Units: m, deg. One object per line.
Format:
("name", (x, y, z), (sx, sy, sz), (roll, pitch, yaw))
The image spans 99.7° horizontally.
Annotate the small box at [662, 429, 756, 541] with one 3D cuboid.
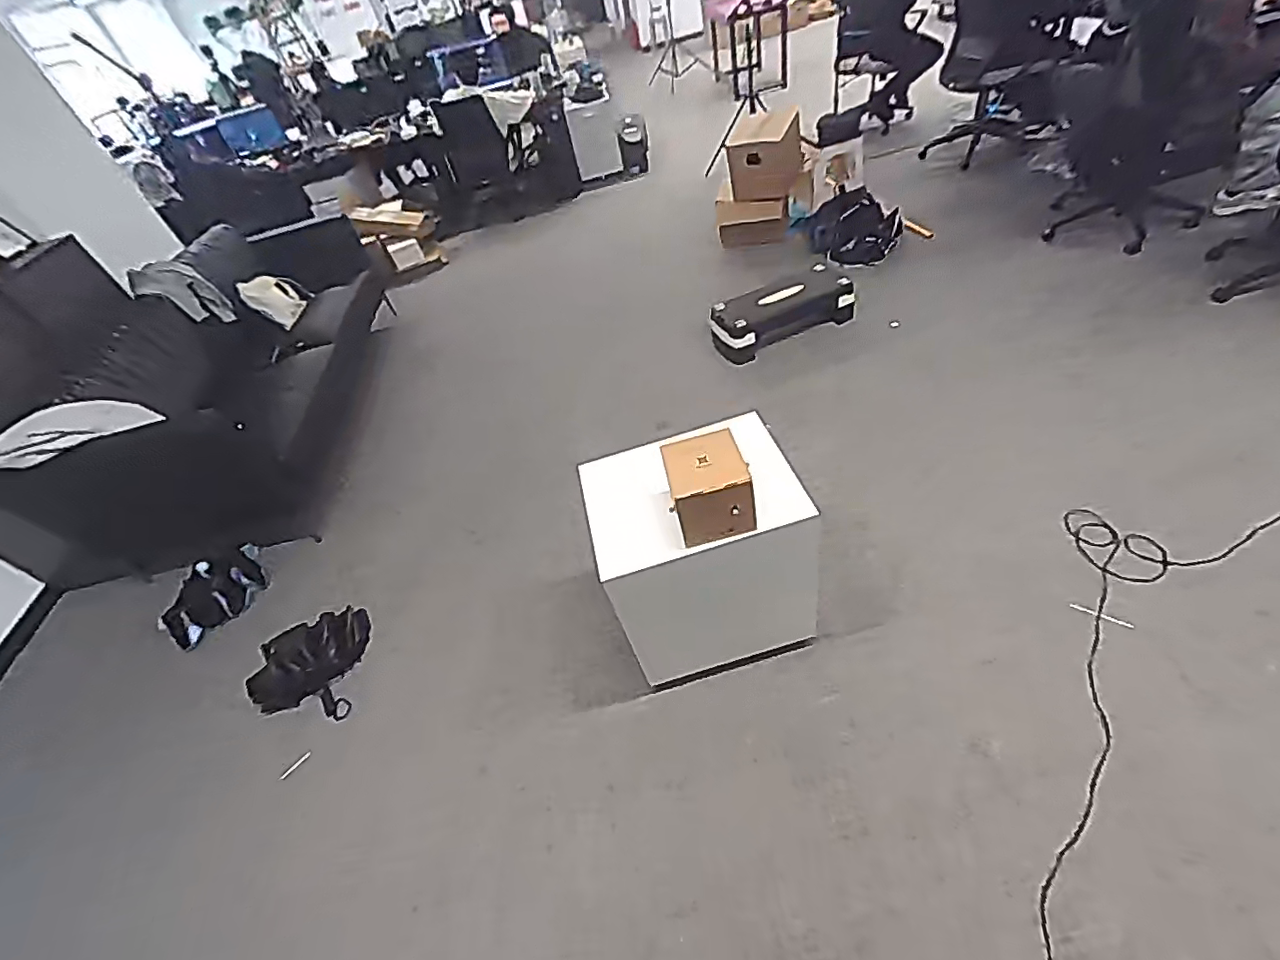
("small box", (0.156, 0.018, 1.212), (0.168, 0.176, 0.179), (-14, 42, 1))
